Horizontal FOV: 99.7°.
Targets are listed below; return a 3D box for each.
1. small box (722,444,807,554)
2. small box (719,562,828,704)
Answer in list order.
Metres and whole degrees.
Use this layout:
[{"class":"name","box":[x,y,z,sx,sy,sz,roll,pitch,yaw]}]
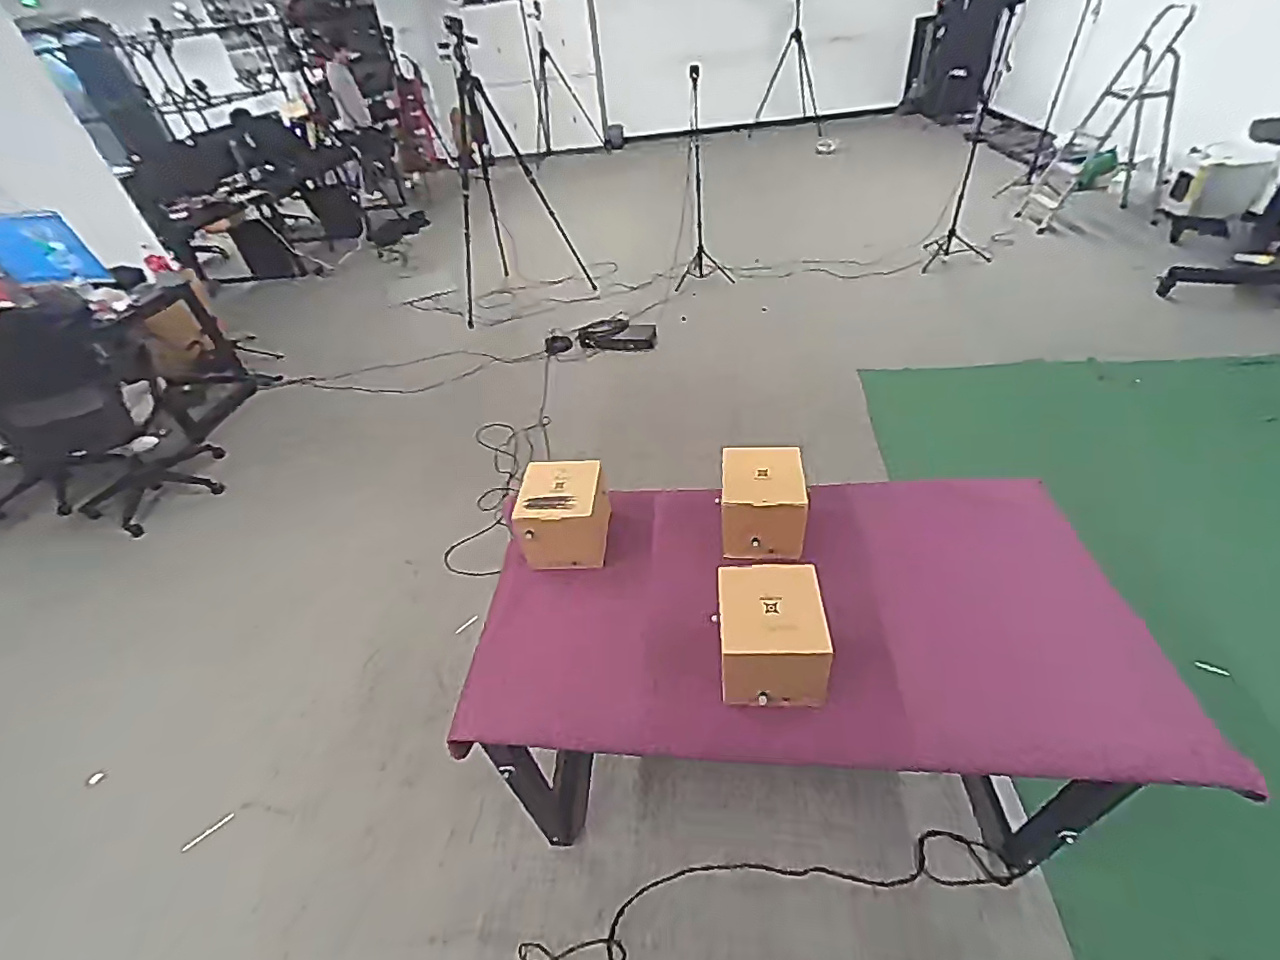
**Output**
[{"class":"small box","box":[0.262,0.040,1.171,0.168,0.176,0.179,0,45,9]},{"class":"small box","box":[0.220,0.261,0.935,0.168,0.176,0.179,-3,42,9]}]
